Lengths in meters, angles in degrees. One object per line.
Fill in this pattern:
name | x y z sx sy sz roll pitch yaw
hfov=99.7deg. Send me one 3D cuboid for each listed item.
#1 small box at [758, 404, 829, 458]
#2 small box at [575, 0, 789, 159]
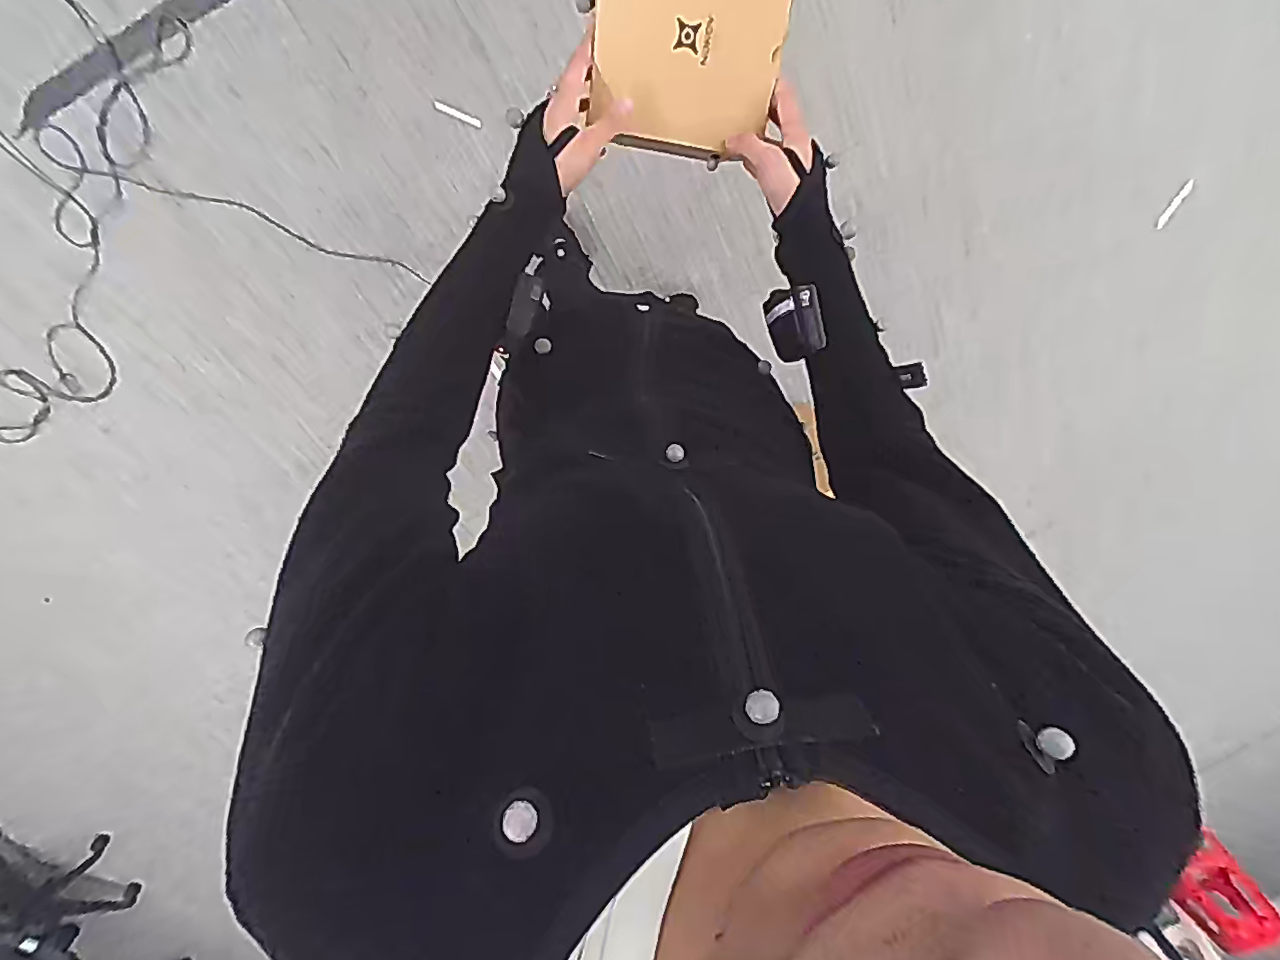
small box | 0.489 -0.103 1.663 0.168 0.176 0.179 -30 117 8
small box | 0.029 -0.432 0.545 0.179 0.176 0.168 2 119 -12
